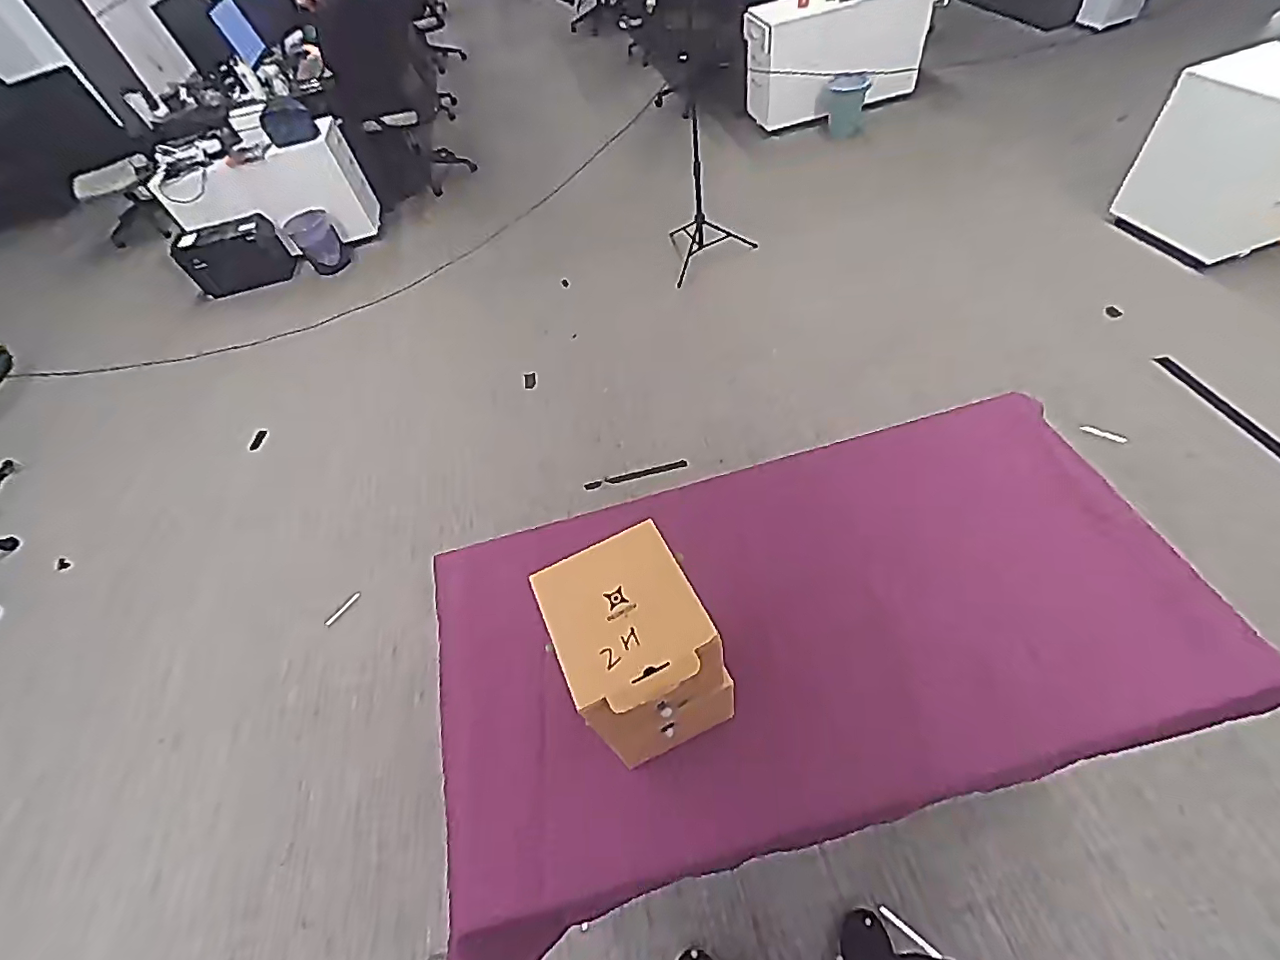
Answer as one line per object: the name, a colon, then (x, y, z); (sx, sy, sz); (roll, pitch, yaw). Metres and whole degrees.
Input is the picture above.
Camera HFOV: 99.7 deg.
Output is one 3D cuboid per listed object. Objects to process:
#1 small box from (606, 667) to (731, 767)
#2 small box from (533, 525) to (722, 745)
small box: (0.023, 0.294, 0.795); (0.179, 0.176, 0.168); (-23, 53, -8)
small box: (-0.011, 0.194, 0.668); (0.168, 0.176, 0.179); (-25, 53, -8)
